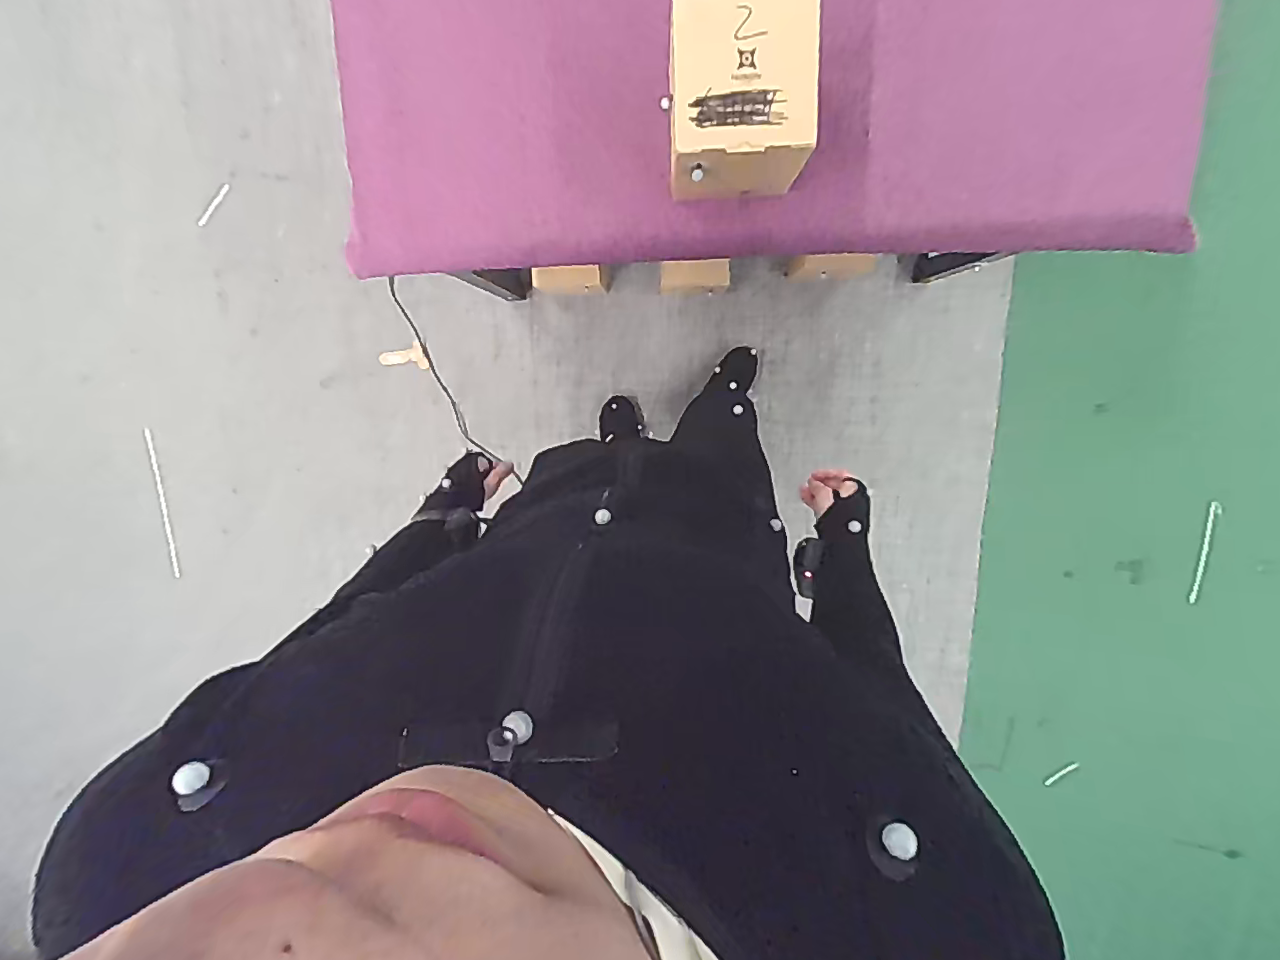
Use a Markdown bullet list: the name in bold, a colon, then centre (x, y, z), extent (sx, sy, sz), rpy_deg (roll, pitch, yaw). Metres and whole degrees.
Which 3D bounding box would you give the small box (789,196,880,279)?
- **small box**: centre (0.489, -0.615, 1.387), extent (0.179, 0.176, 0.168), rpy_deg (2, 102, 2)

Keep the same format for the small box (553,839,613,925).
- **small box**: centre (-0.186, 1.333, 1.802), extent (0.179, 0.176, 0.168), rpy_deg (-1, 102, 2)

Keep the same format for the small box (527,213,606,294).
- **small box**: centre (-0.187, -0.588, 1.421), extent (0.179, 0.176, 0.168), rpy_deg (-2, 101, 2)

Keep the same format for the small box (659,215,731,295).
- **small box**: centre (0.138, -0.580, 1.409), extent (0.179, 0.176, 0.168), rpy_deg (0, 101, 3)
